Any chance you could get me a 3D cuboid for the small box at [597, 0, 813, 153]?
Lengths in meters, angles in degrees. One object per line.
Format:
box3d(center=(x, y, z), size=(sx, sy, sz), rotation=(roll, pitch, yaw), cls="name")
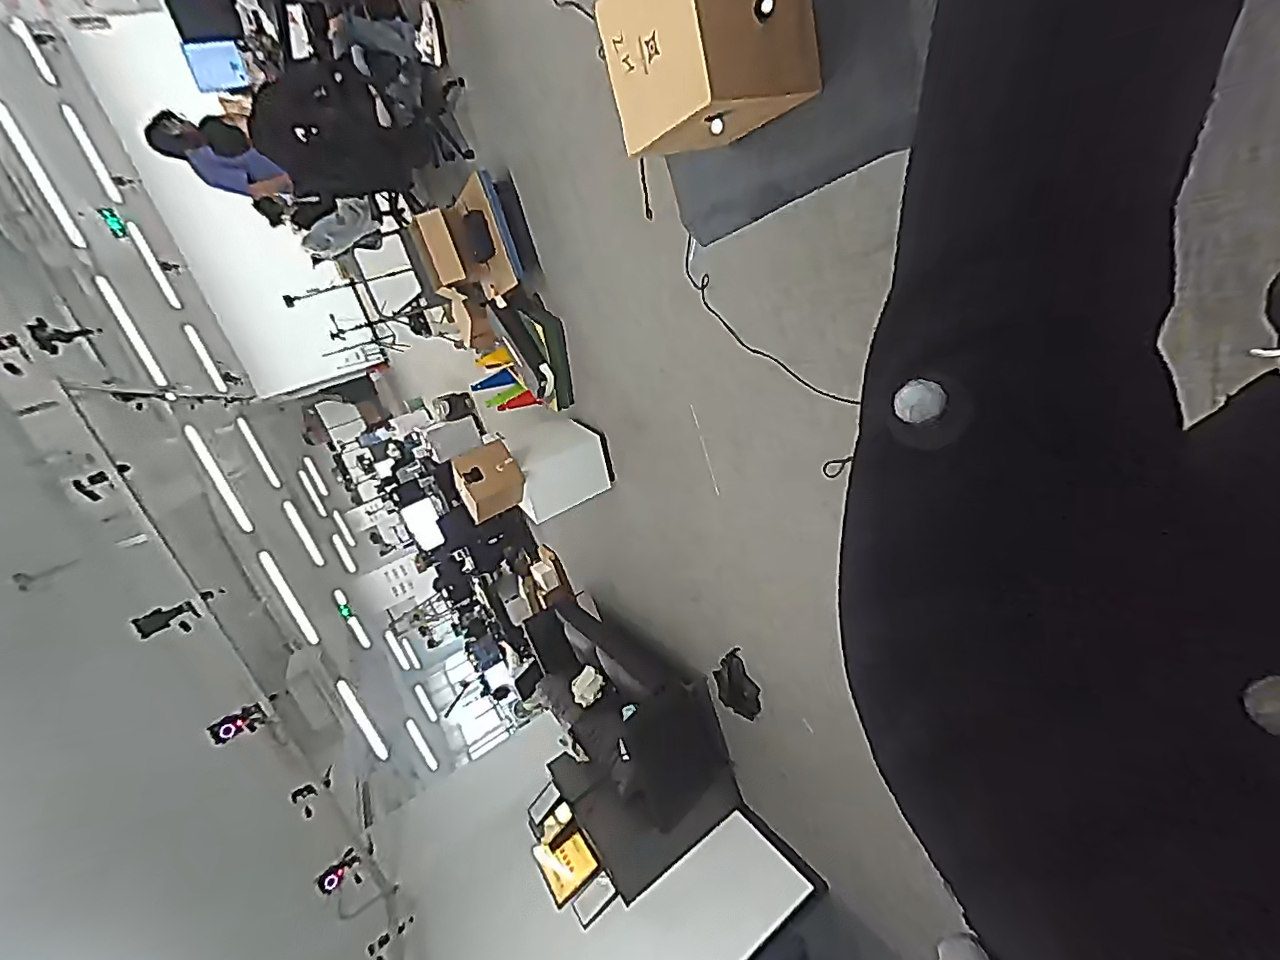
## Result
box3d(center=(0.080, -0.506, 0.624), size=(0.179, 0.176, 0.168), rotation=(18, 128, 58), cls="small box")
